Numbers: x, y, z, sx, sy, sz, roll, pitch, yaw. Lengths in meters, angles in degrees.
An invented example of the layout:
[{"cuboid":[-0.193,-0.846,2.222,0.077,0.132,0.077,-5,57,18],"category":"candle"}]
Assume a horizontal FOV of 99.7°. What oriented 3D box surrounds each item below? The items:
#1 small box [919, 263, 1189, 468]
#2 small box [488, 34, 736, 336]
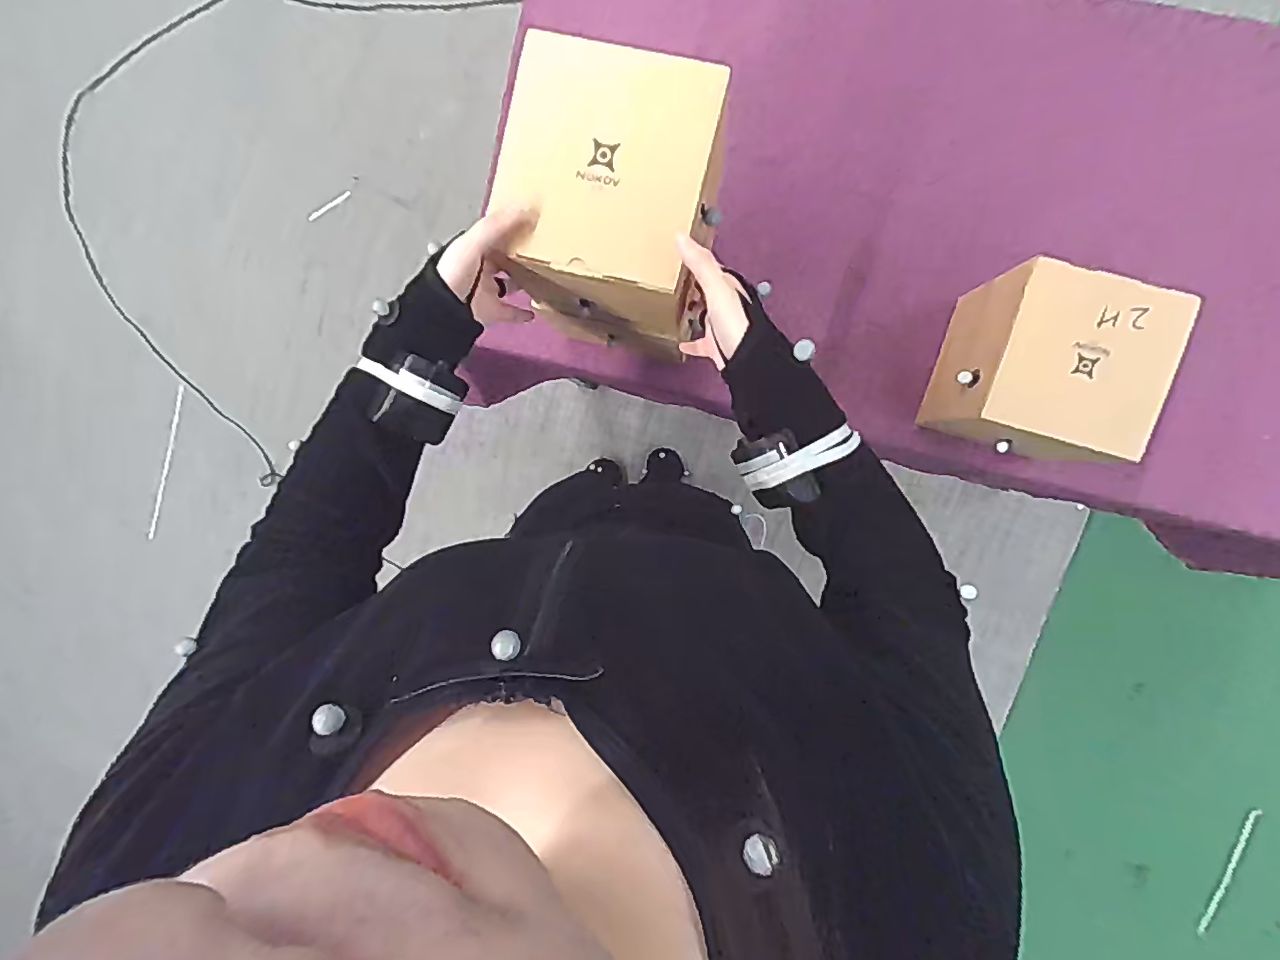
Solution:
[{"cuboid":[0.463,-0.124,0.641,0.168,0.176,0.179,18,95,3],"category":"small box"},{"cuboid":[-0.019,-0.253,0.508,0.168,0.176,0.179,15,95,4],"category":"small box"}]
